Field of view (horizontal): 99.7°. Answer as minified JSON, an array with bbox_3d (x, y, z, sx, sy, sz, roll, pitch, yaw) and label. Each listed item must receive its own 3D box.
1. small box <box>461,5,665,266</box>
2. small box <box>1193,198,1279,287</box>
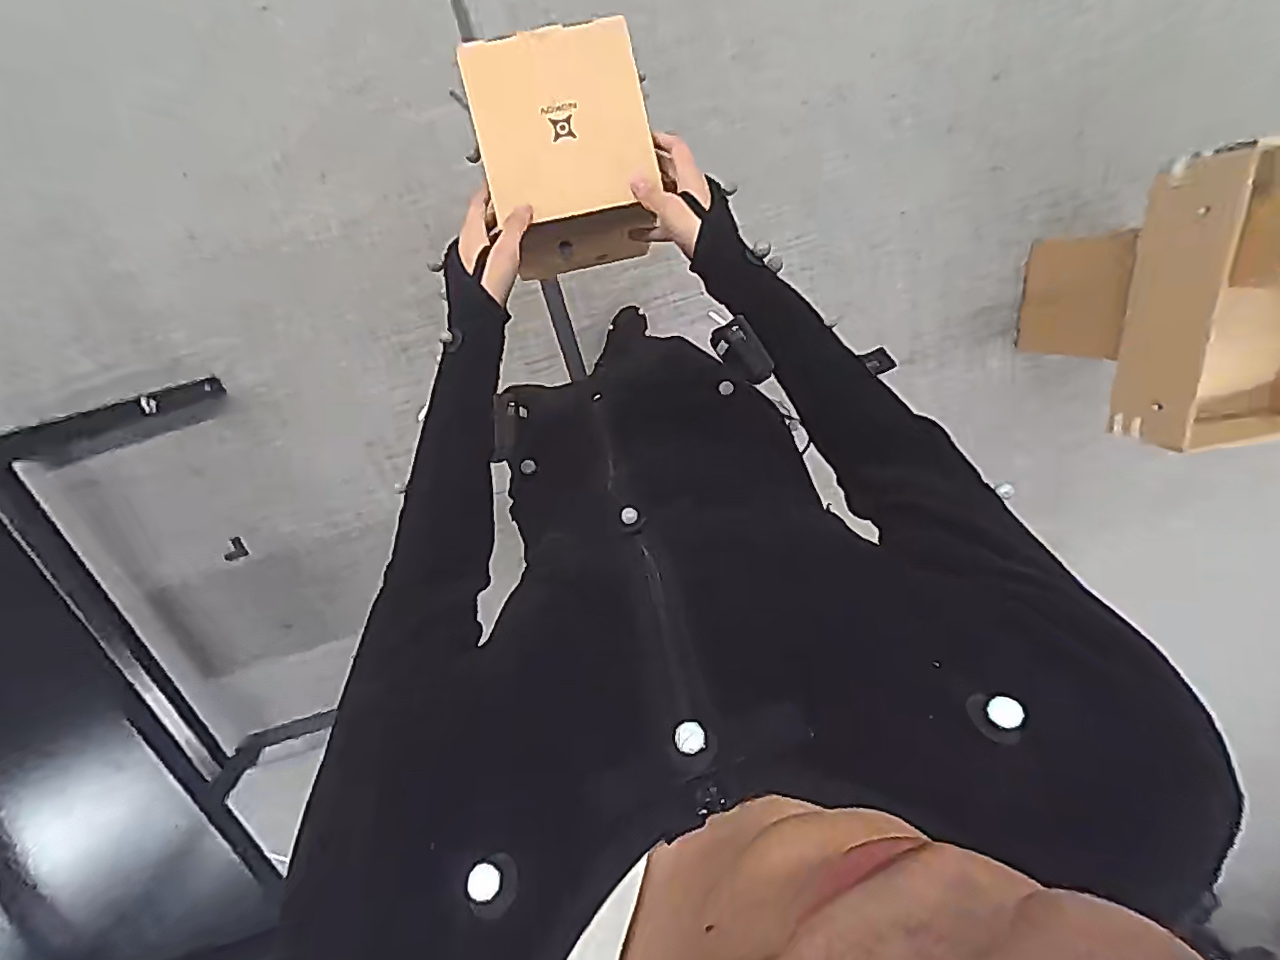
[{"bbox_3d":[-0.075,-0.350,0.589,0.168,0.176,0.179,-13,94,-4],"label":"small box"},{"bbox_3d":[1.321,-0.491,1.118,0.179,0.176,0.168,-7,111,-6],"label":"small box"}]
